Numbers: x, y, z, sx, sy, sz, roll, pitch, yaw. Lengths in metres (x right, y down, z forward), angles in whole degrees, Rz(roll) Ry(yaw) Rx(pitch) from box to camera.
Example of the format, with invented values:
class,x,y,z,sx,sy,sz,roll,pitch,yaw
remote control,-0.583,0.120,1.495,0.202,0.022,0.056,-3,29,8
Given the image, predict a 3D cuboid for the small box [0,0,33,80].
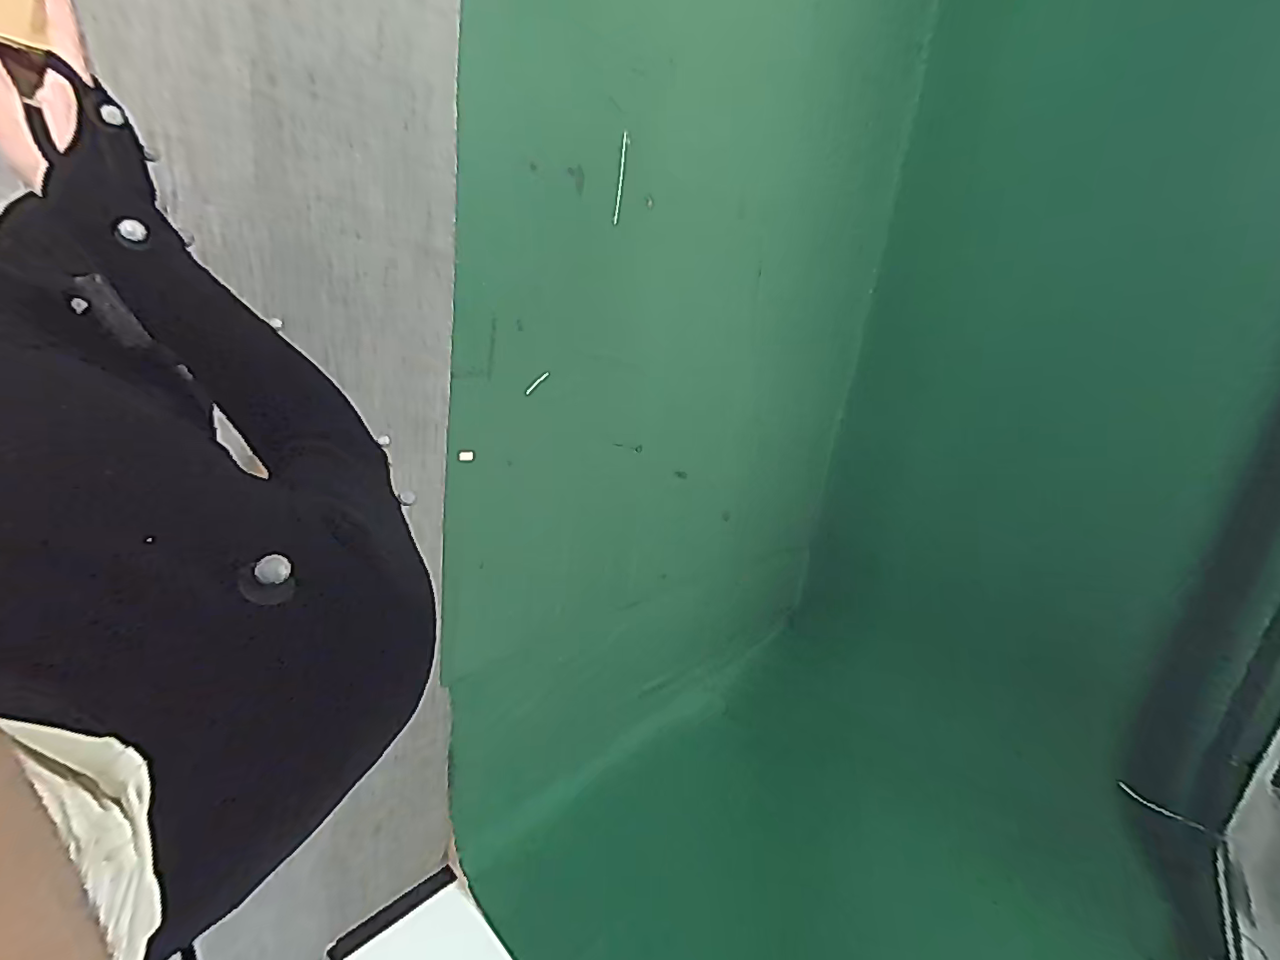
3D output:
class,x,y,z,sx,sy,sz,roll,pitch,yaw
small box,-0.527,-0.401,0.349,0.168,0.176,0.179,-9,110,-50
